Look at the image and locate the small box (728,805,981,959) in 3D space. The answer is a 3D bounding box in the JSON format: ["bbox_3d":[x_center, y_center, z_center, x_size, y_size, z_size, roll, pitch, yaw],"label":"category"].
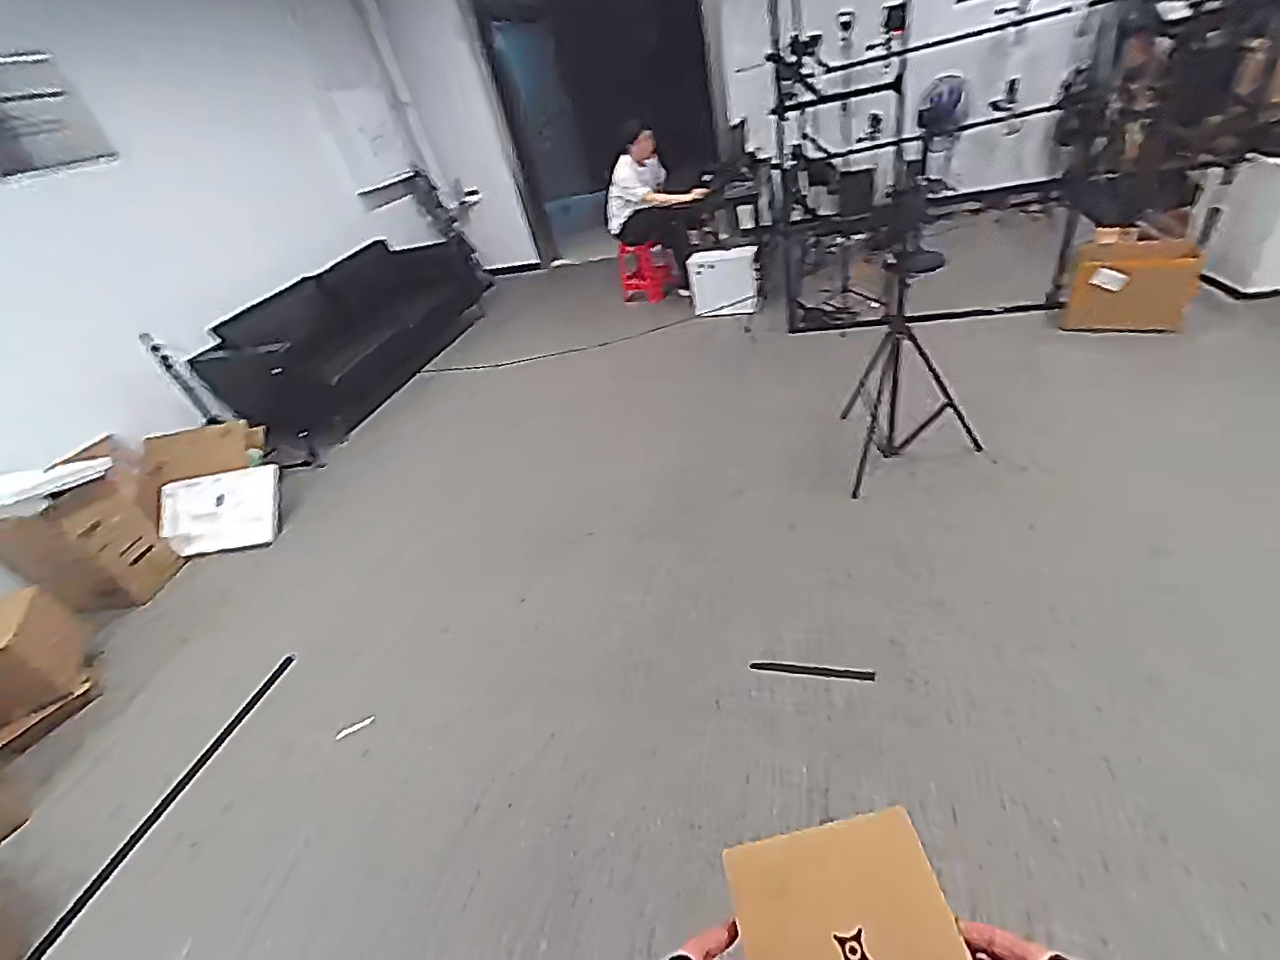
[{"bbox_3d":[0.180,0.410,0.463,0.168,0.176,0.179,-16,48,1],"label":"small box"}]
